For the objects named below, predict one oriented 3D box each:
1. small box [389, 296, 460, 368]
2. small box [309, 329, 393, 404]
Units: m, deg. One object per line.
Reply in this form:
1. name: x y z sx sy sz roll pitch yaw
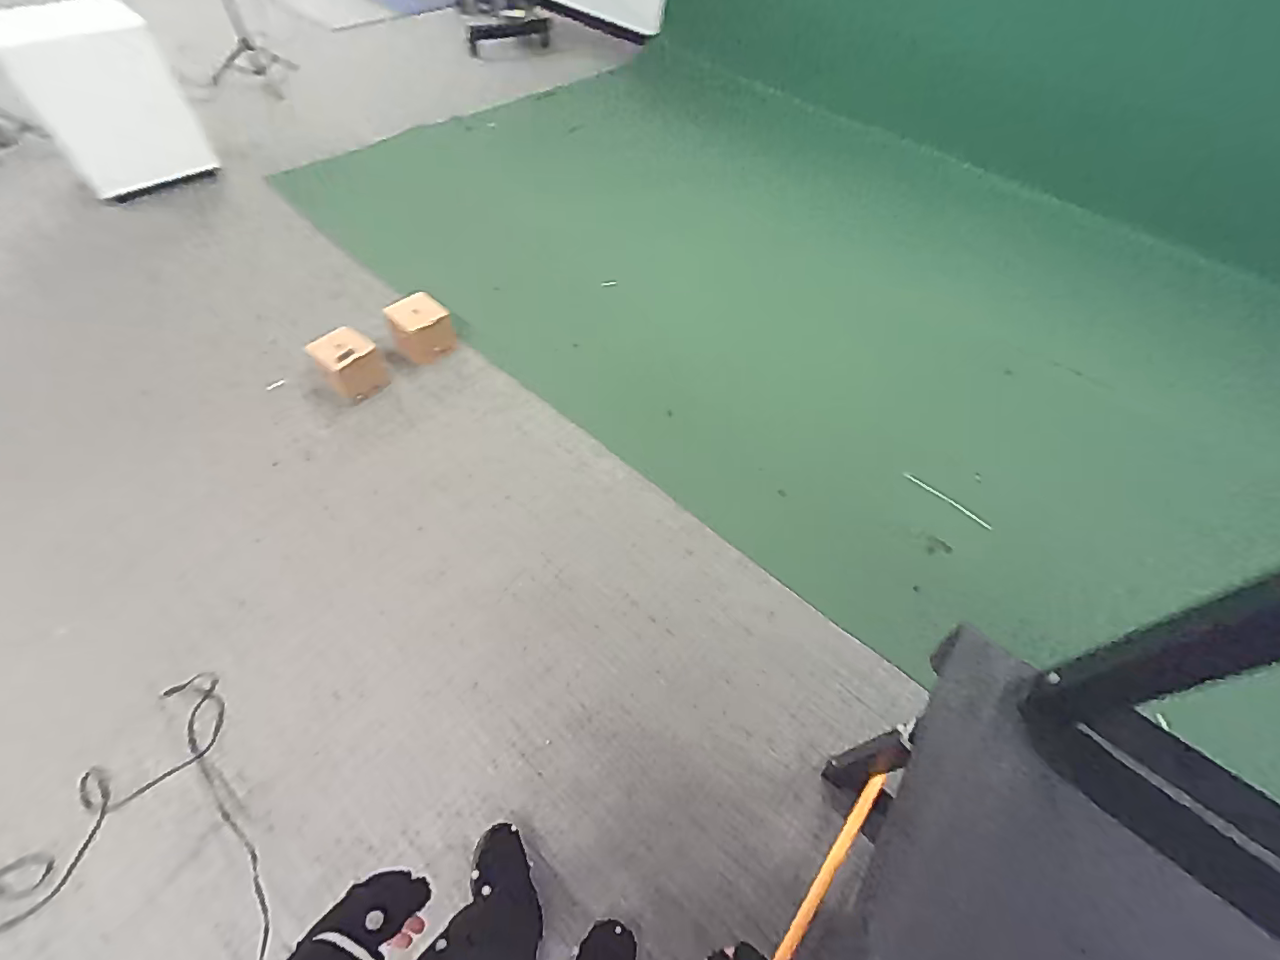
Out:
1. small box: -0.811 -0.556 2.045 0.179 0.176 0.168 37 60 20
2. small box: -1.009 -0.393 1.905 0.179 0.176 0.168 33 57 19
